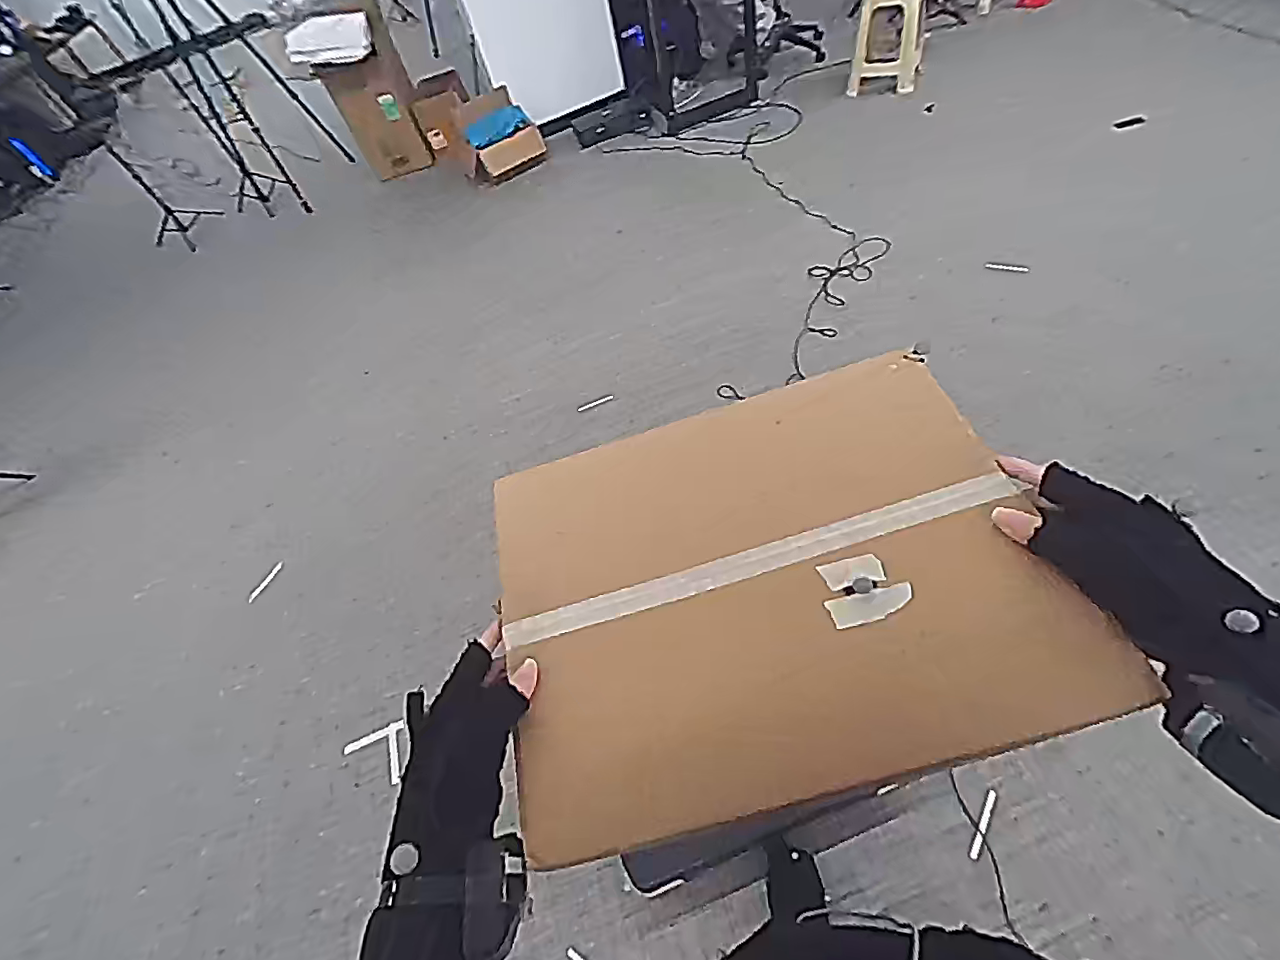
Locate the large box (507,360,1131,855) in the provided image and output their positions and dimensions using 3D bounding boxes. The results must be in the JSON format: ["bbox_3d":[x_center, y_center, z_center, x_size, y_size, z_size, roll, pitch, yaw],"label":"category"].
[{"bbox_3d":[0.121,0.146,0.555,0.408,0.320,0.320,-17,57,3],"label":"large box"}]
